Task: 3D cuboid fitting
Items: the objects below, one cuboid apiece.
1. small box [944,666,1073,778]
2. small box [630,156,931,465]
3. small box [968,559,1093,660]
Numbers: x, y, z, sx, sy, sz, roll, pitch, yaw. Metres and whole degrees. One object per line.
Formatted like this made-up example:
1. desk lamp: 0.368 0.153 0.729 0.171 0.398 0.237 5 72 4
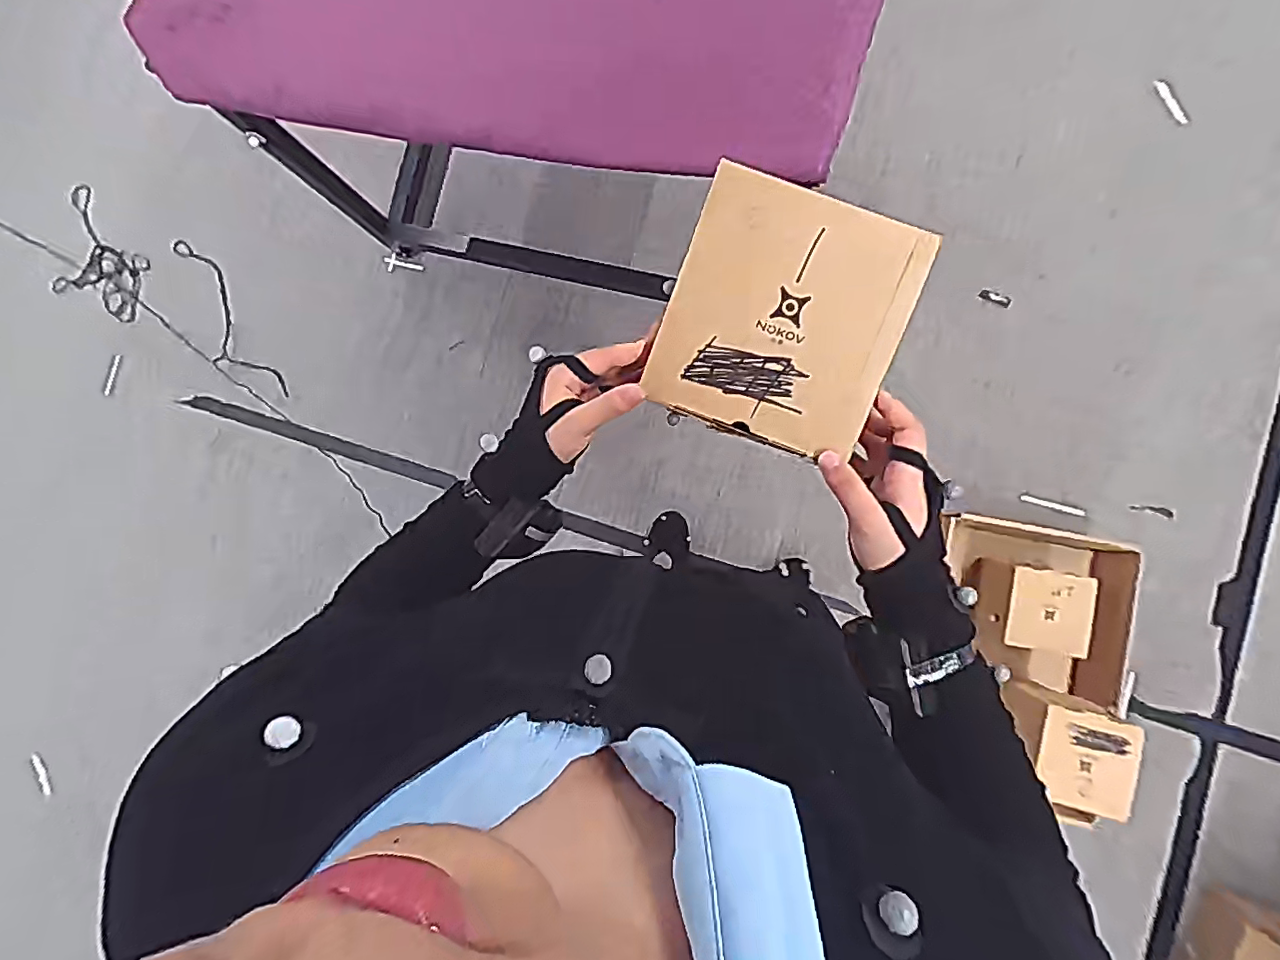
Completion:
1. small box: 0.836 0.544 1.241 0.179 0.176 0.168 11 87 9
2. small box: 0.103 -0.127 0.464 0.168 0.176 0.179 21 97 1
3. small box: 0.888 0.290 1.248 0.168 0.176 0.179 10 89 8
